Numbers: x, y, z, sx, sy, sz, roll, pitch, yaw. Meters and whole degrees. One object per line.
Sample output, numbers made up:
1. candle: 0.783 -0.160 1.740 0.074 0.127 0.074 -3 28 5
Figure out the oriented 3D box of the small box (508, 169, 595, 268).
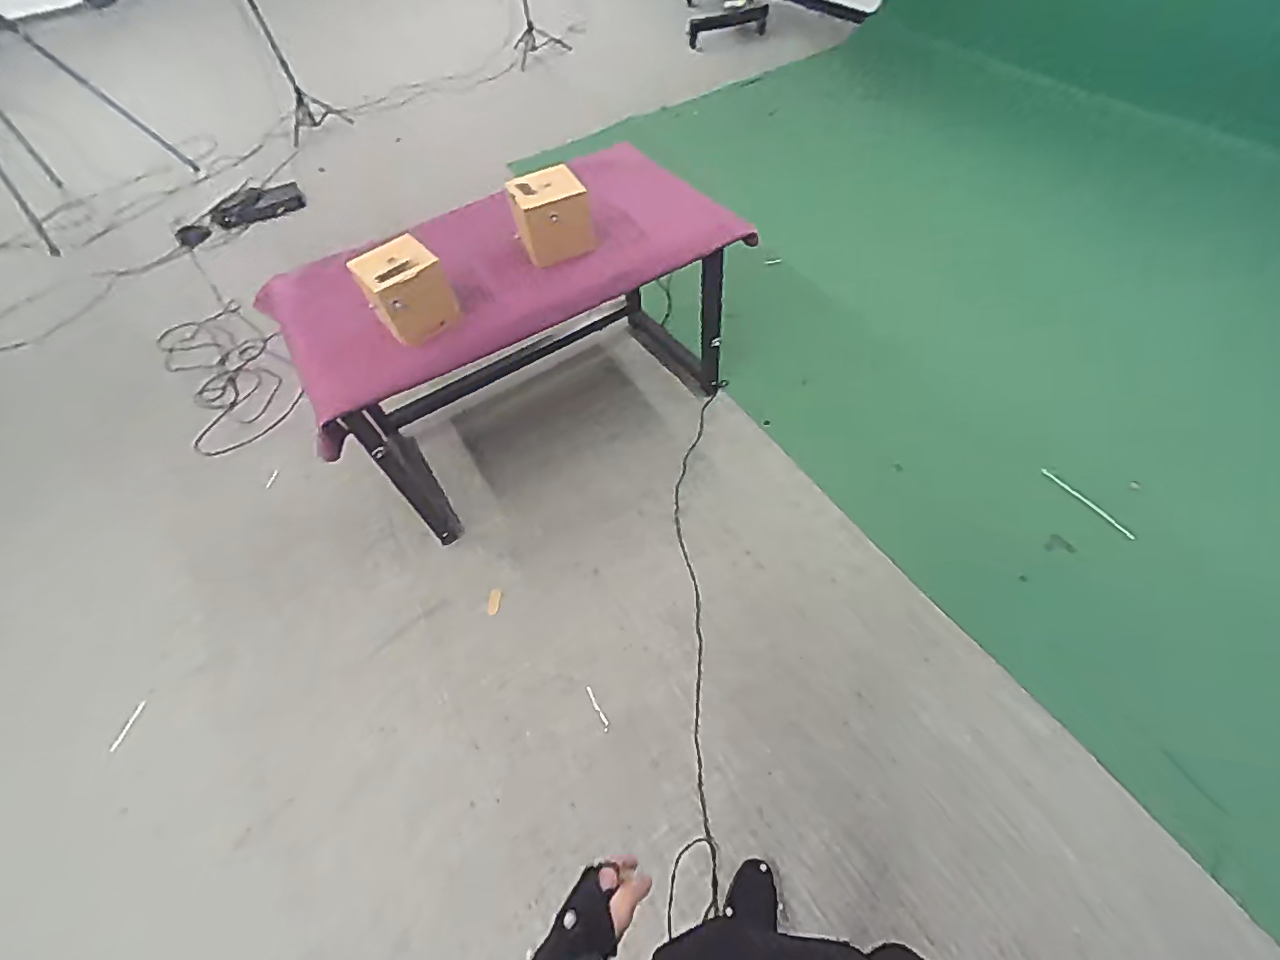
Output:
1. small box: -0.236 -0.709 1.474 0.179 0.176 0.168 -23 57 -11
